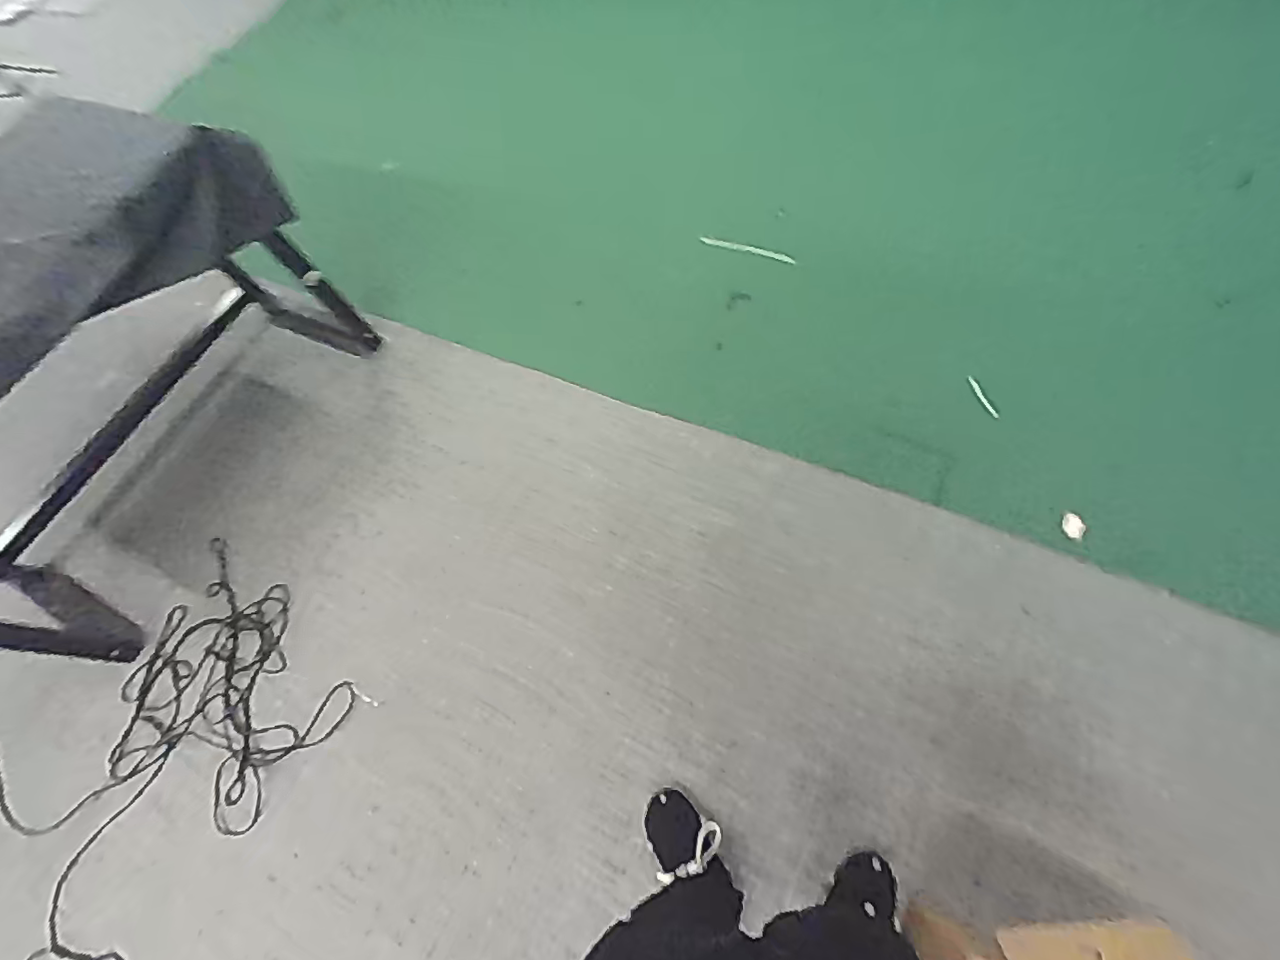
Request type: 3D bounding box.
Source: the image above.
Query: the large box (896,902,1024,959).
[{"bbox_3d":[0.522,0.925,0.752,0.320,0.320,0.408,21,72,20],"label":"large box"}]
